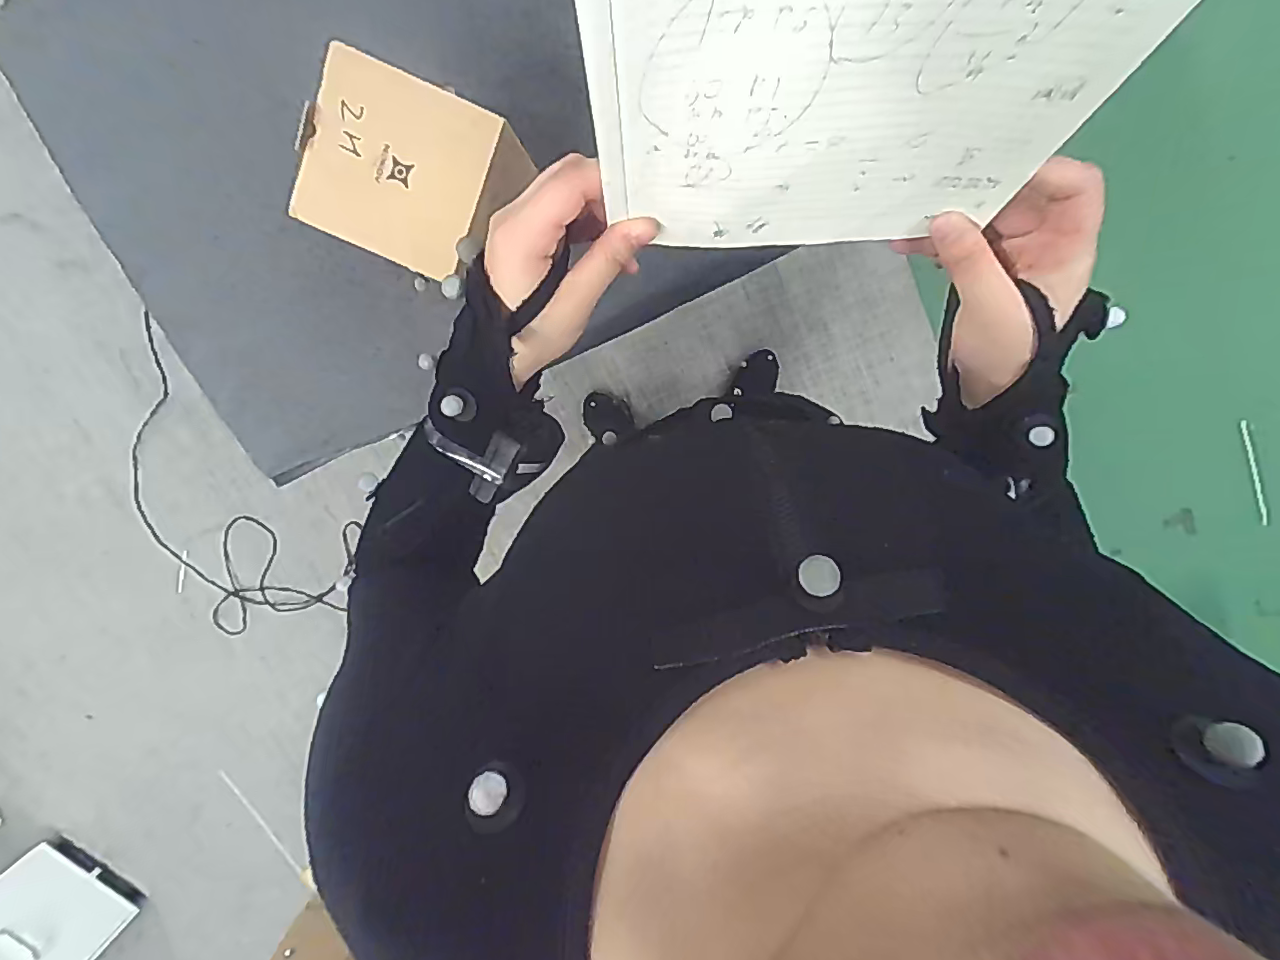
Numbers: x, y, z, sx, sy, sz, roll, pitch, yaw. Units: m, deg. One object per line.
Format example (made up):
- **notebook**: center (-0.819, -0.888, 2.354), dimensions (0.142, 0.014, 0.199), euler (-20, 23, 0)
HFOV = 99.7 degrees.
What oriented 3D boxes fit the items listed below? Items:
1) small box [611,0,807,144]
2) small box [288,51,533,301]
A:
- **small box**: center (0.067, -0.470, 0.557), dimensions (0.179, 0.176, 0.168), euler (4, 102, 2)
- **small box**: center (-0.236, -0.312, 0.601), dimensions (0.179, 0.176, 0.168), euler (23, 101, -3)
